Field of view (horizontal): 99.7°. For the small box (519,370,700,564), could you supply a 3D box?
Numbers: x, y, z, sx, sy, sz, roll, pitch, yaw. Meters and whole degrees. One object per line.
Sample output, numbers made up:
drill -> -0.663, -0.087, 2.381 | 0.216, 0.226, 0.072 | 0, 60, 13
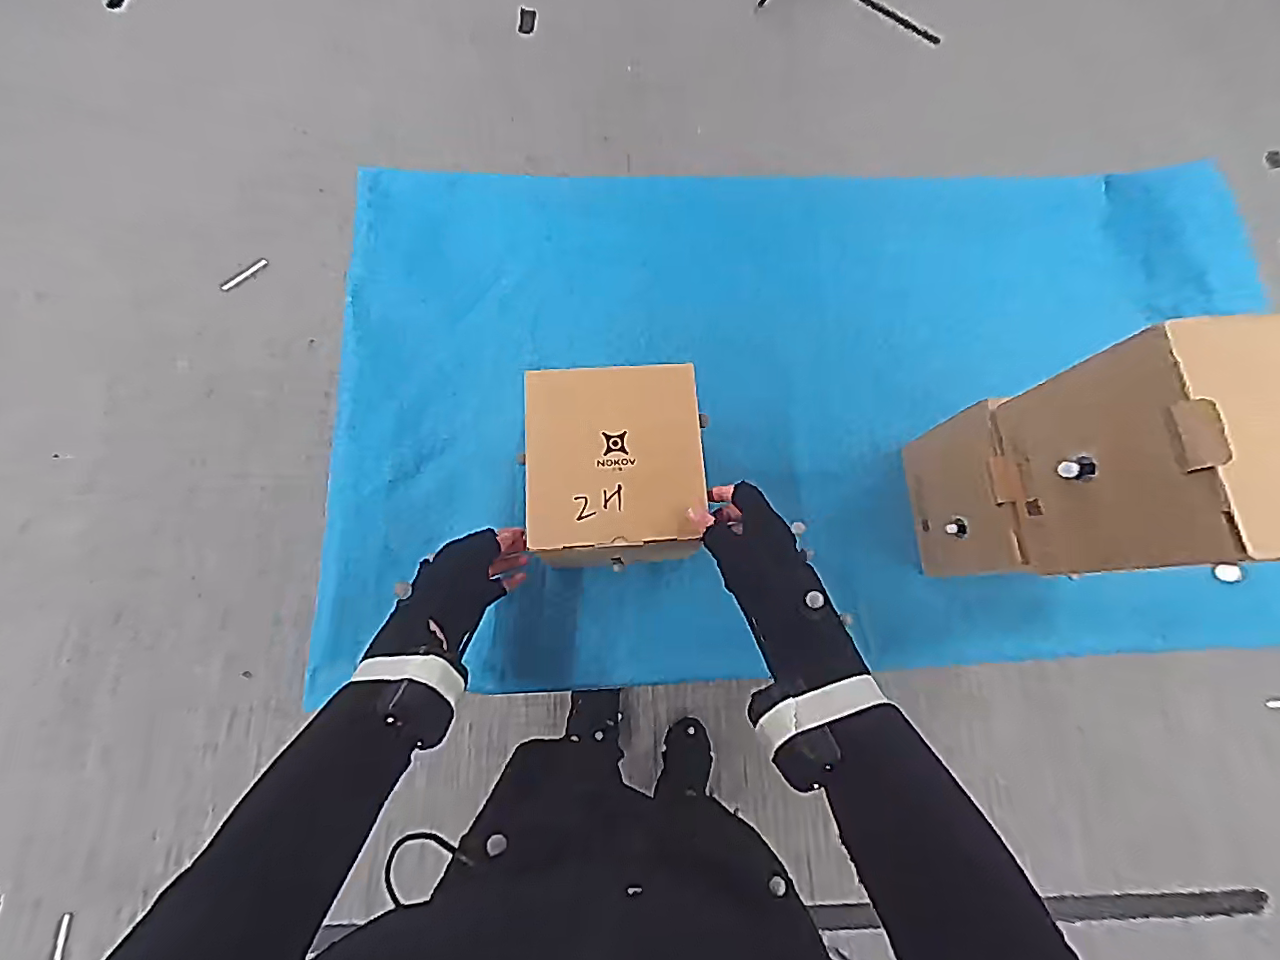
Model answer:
small box -> -0.029, -0.004, 0.579 | 0.168, 0.176, 0.179 | 0, 79, -1

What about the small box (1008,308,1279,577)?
small box -> 0.434, -0.018, 0.429 | 0.179, 0.176, 0.168 | -6, 77, -4

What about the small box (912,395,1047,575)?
small box -> 0.421, 0.014, 0.588 | 0.179, 0.176, 0.168 | -2, 77, -2
